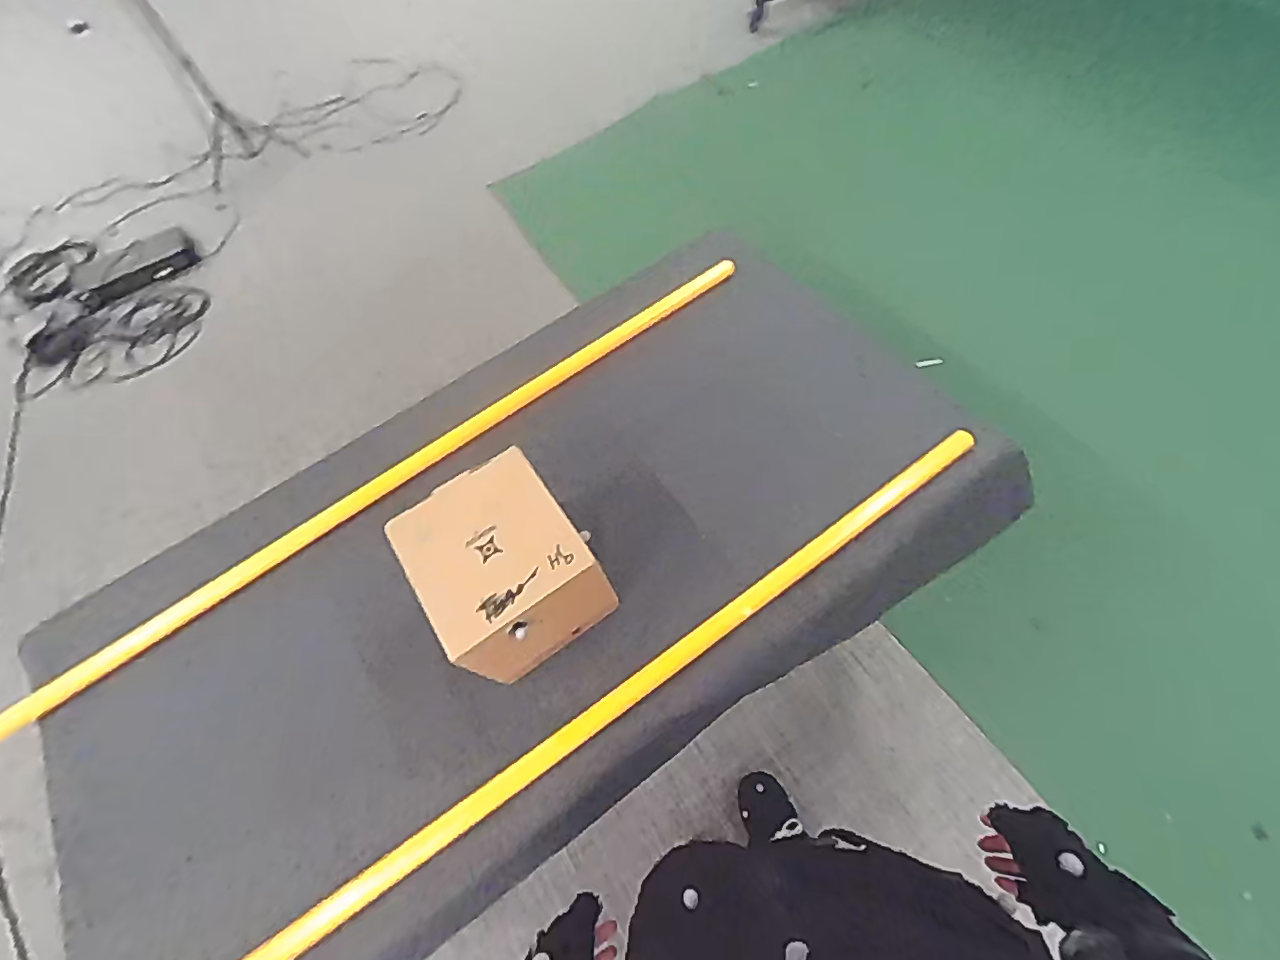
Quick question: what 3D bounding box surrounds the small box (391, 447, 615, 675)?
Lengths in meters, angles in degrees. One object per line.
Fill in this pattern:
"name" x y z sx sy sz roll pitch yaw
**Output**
"small box" -0.150 0.101 0.634 0.168 0.176 0.179 -34 63 -10
